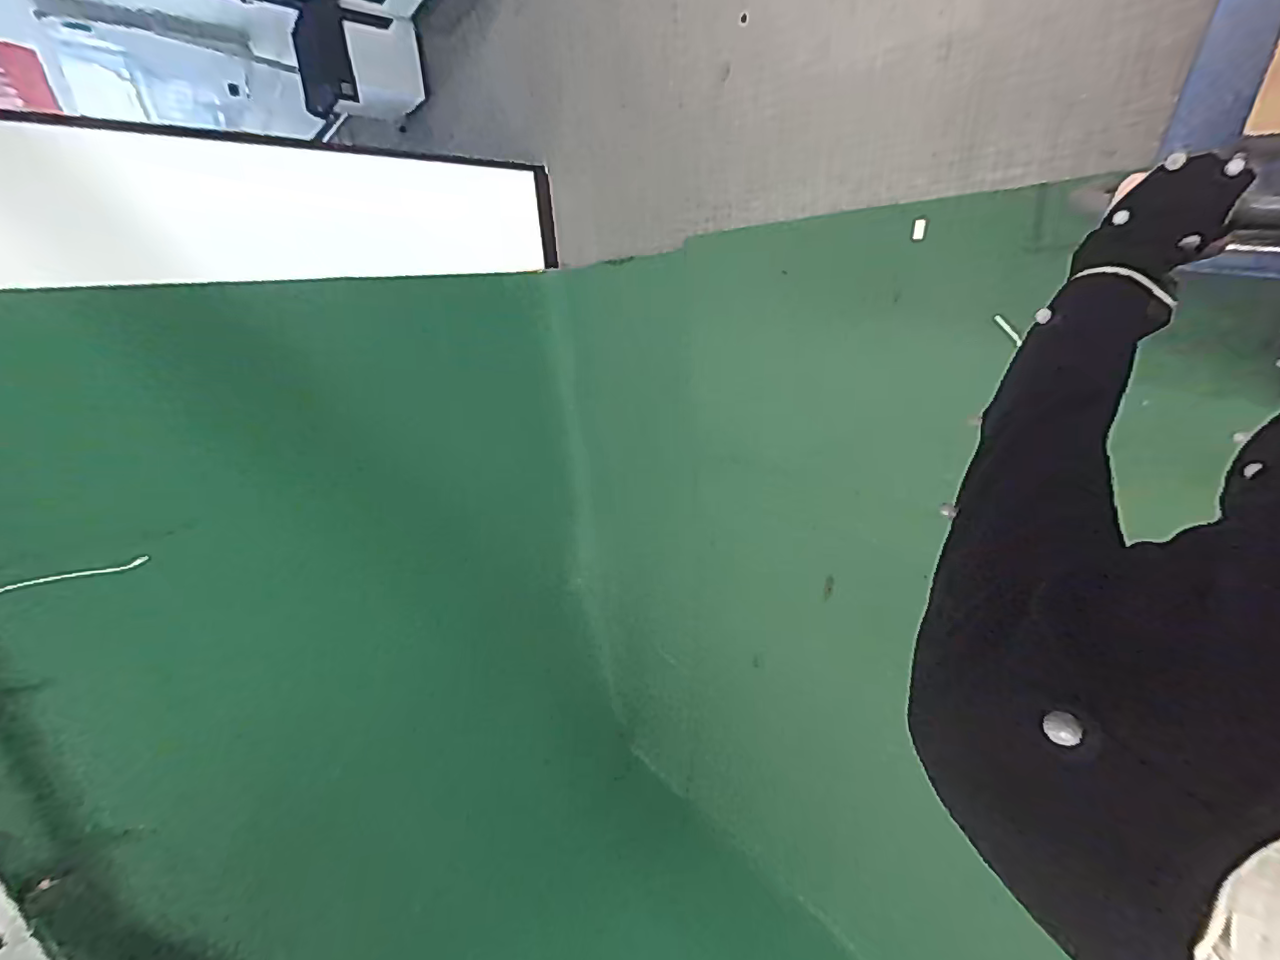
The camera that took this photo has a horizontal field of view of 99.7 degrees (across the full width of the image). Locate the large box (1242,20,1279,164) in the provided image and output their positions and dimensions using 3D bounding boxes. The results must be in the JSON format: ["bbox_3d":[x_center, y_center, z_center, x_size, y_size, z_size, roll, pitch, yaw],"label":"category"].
[{"bbox_3d":[1.039,-0.641,0.651,0.320,0.320,0.408,25,123,44],"label":"large box"}]
